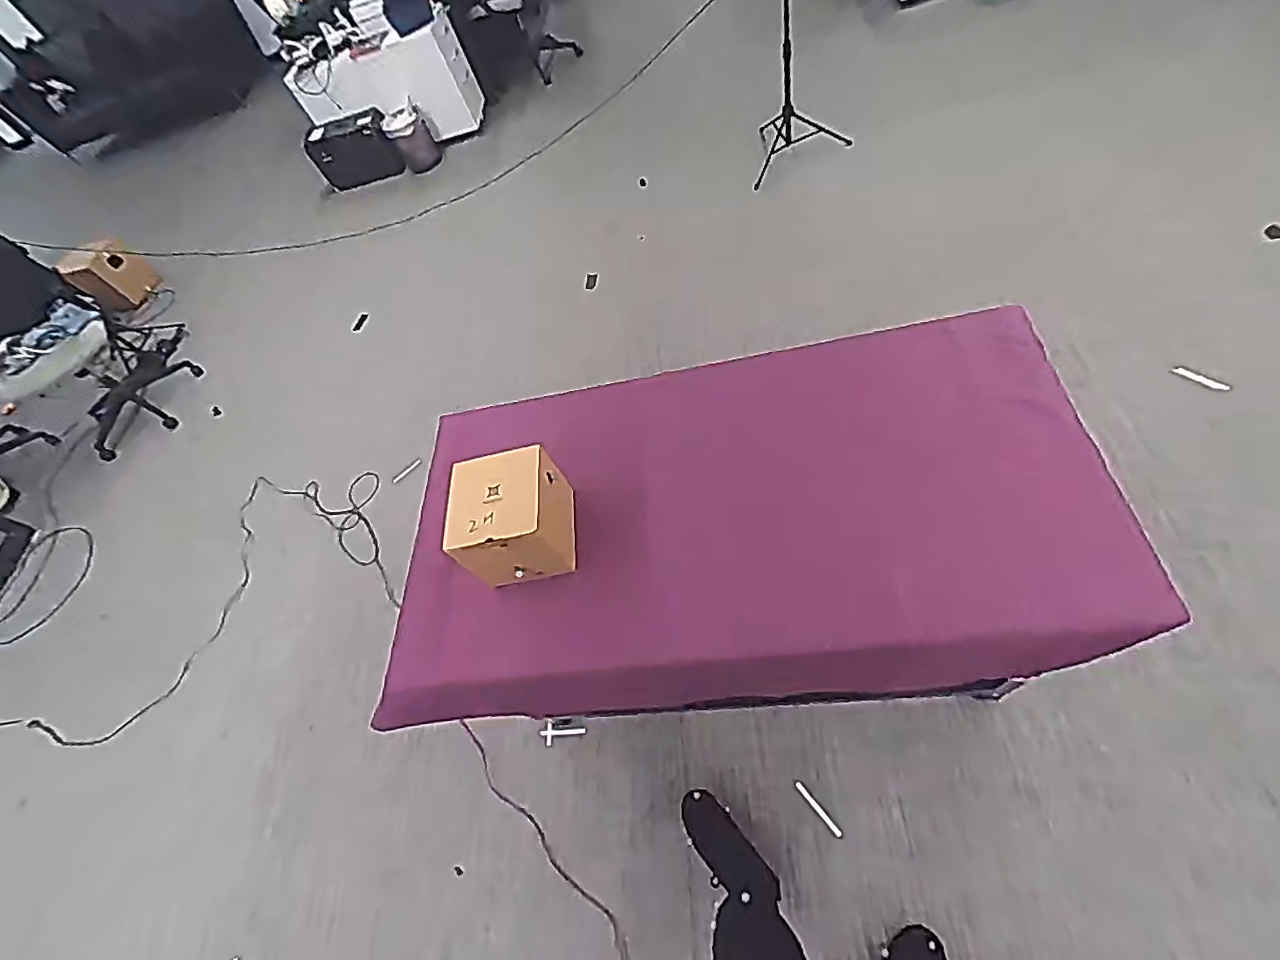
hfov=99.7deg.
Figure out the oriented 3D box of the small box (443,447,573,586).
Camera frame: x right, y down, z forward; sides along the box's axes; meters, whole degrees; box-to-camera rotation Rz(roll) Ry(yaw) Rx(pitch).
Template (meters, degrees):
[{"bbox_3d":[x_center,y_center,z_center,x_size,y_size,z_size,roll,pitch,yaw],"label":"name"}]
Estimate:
[{"bbox_3d":[-0.225,0.070,0.968,0.168,0.176,0.179,-12,57,10],"label":"small box"}]
